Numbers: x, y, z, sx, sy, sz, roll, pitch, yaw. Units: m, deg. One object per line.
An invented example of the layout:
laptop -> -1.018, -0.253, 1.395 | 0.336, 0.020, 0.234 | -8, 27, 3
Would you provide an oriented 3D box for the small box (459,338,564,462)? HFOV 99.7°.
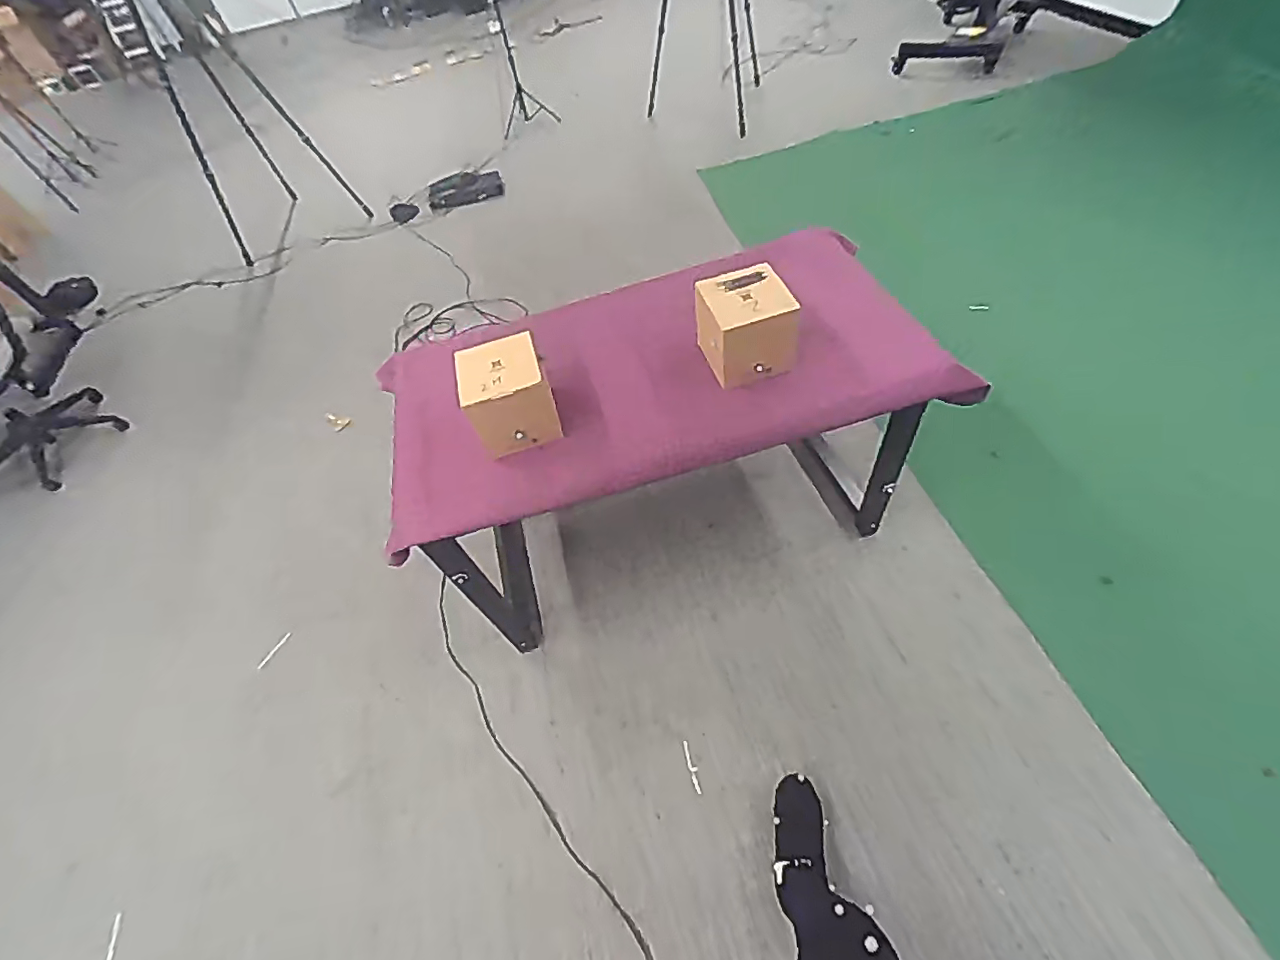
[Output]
small box -> -0.274, -0.169, 1.161 | 0.168, 0.176, 0.179 | -18, 53, -2
